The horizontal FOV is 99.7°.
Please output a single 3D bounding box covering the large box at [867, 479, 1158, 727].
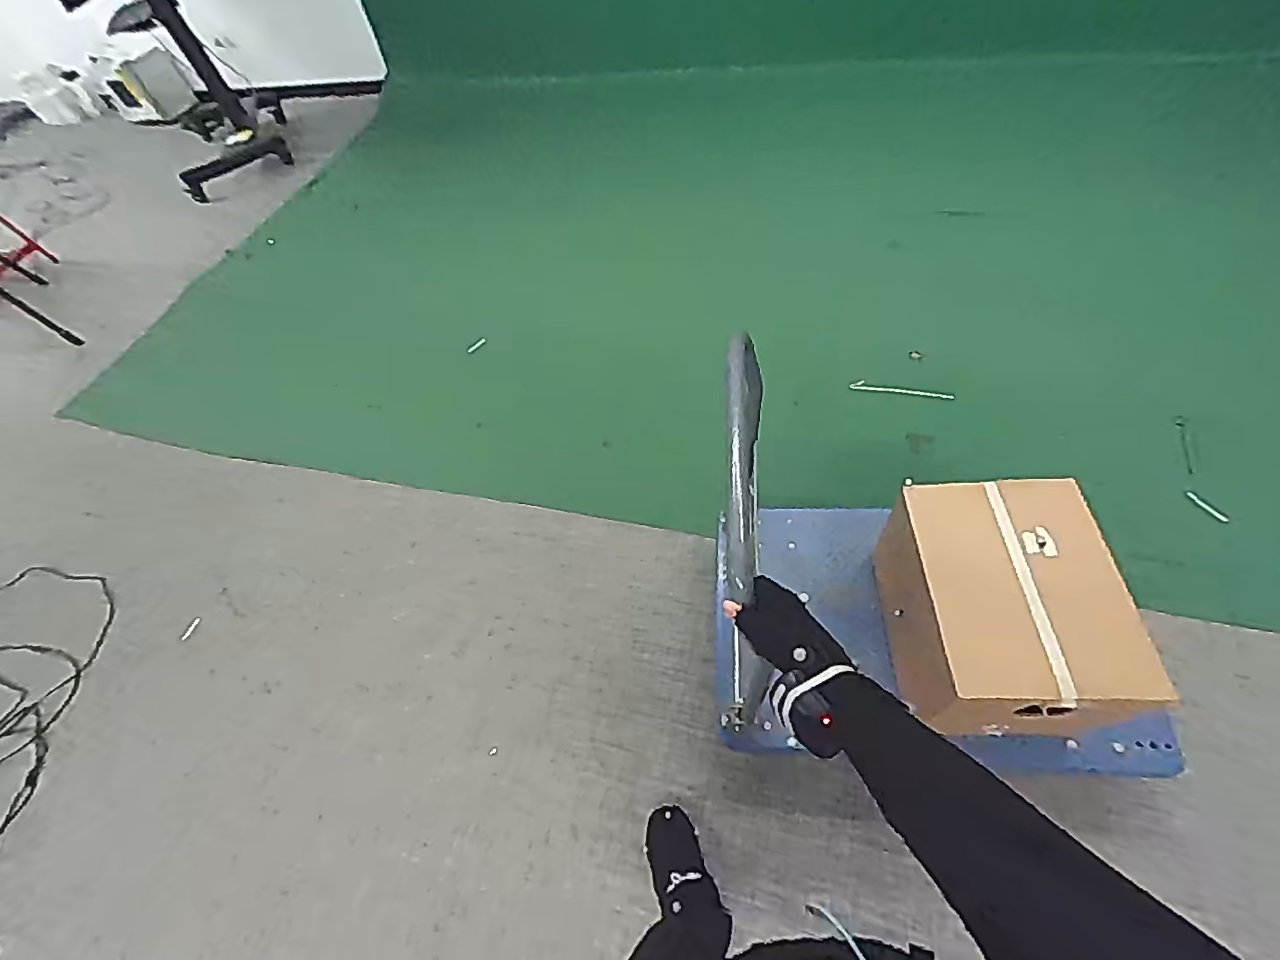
[{"bbox_3d":[0.675,0.253,1.079,0.320,0.320,0.408,-2,55,8],"label":"large box"}]
